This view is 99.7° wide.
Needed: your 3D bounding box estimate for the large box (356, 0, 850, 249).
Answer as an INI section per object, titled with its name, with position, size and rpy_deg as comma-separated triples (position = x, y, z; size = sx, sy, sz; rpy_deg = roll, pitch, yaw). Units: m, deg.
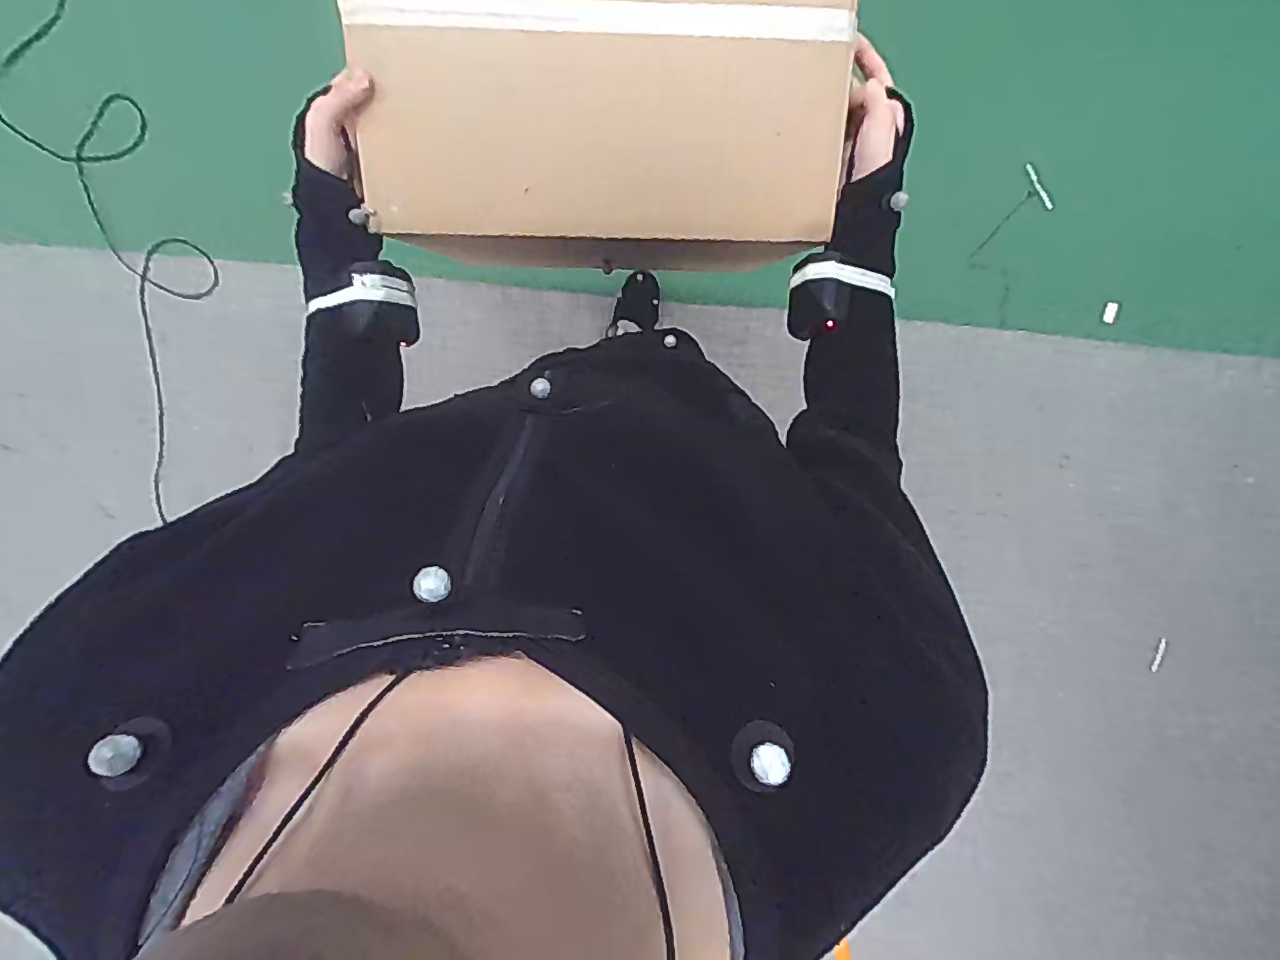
[large box]
position = -0.031, -0.423, 0.576
size = 0.408, 0.320, 0.320
rpy_deg = 0, 107, -2
